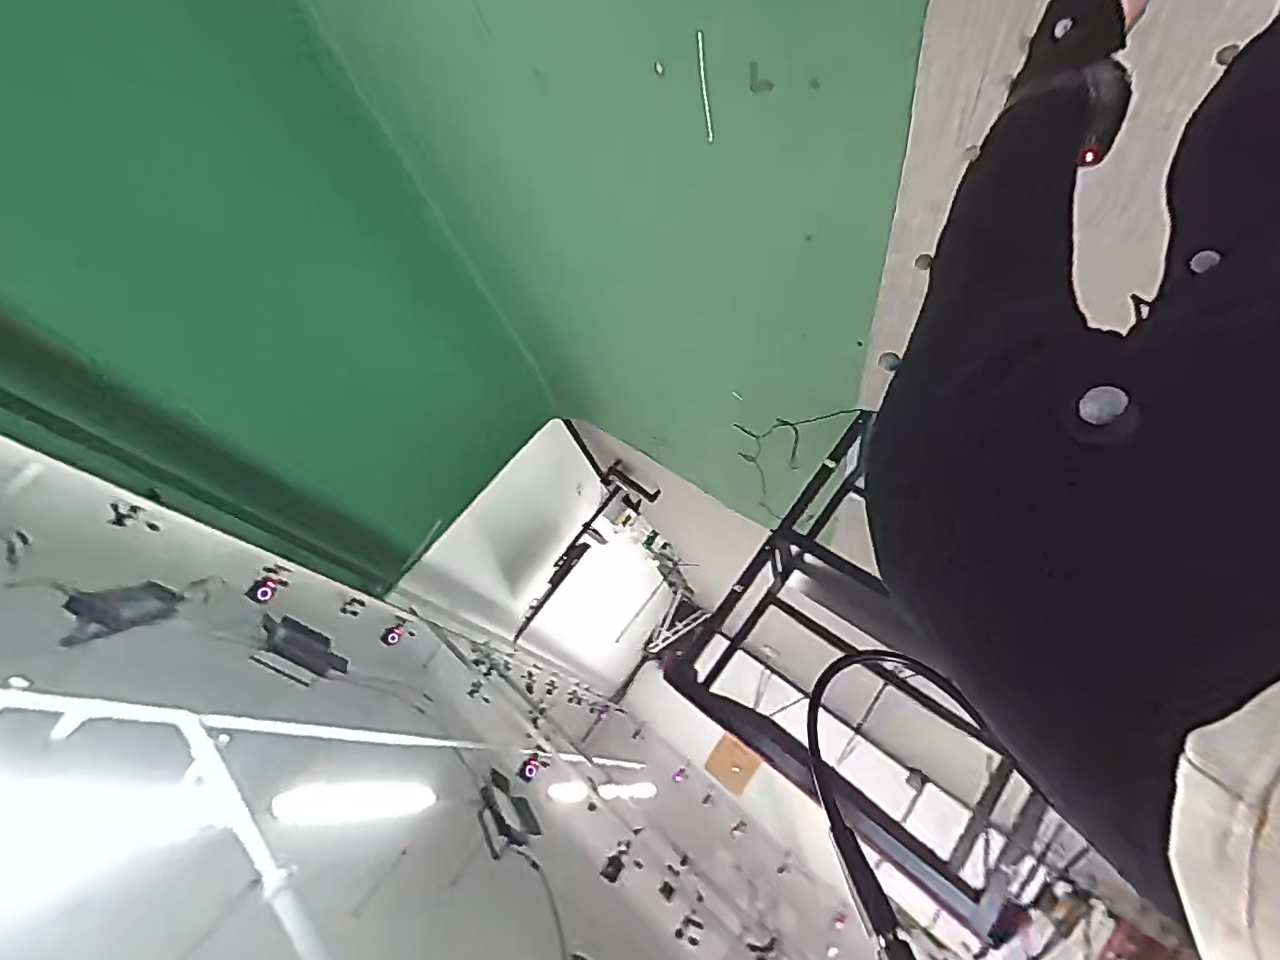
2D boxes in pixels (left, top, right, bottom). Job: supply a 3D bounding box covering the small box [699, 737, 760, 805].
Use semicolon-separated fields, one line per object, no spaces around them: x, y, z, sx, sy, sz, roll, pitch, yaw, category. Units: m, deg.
0.344;1.098;2.053;0.168;0.176;0.179;33;165;26;small box
